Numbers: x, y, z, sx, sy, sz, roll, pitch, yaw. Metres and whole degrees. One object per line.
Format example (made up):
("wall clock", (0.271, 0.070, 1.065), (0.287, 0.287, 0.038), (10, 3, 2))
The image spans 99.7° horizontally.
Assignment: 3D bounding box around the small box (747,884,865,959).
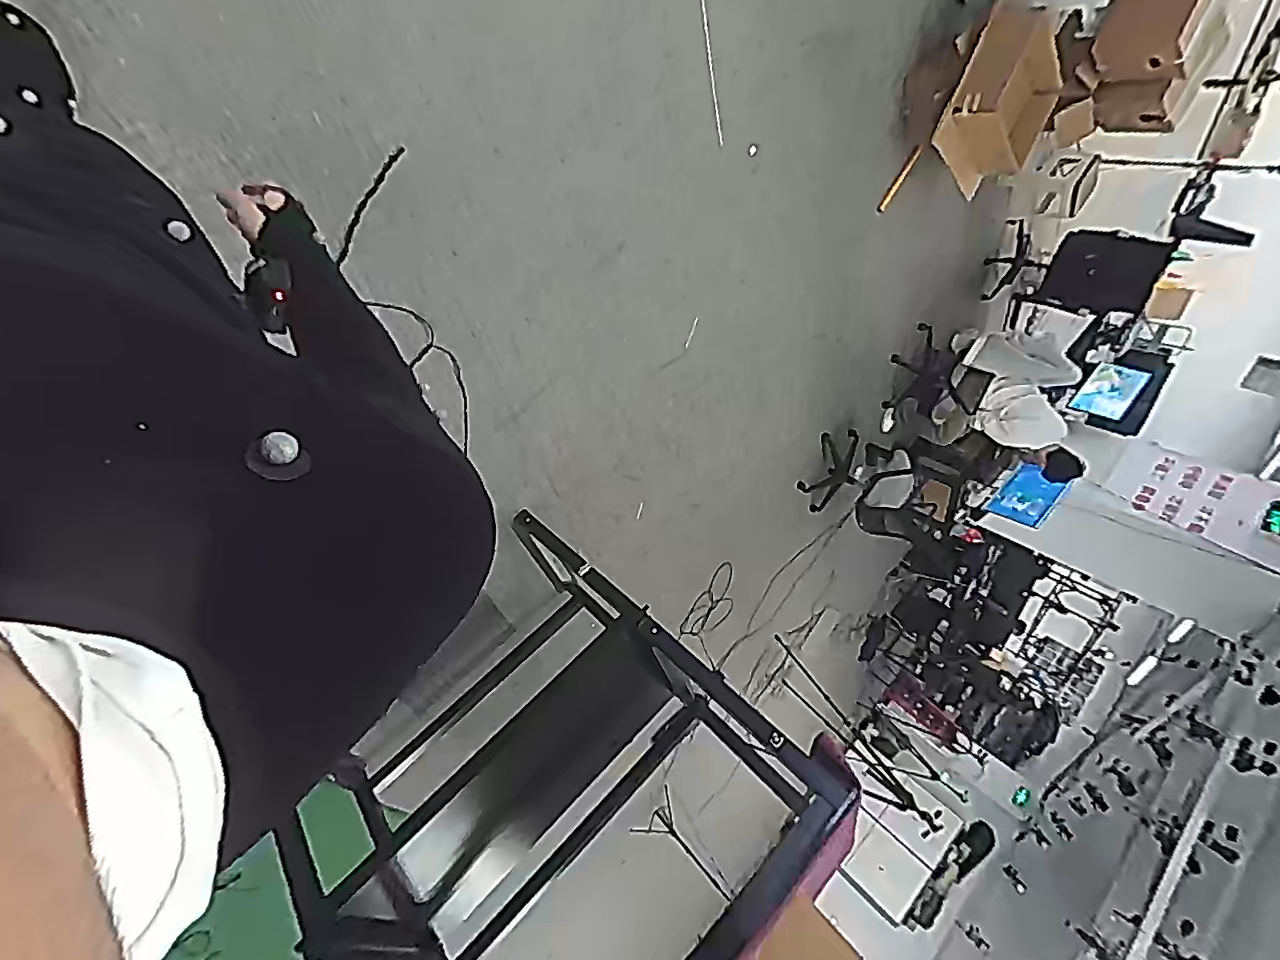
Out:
("small box", (0.348, 1.015, 1.154), (0.179, 0.176, 0.168), (-37, 138, -22))
